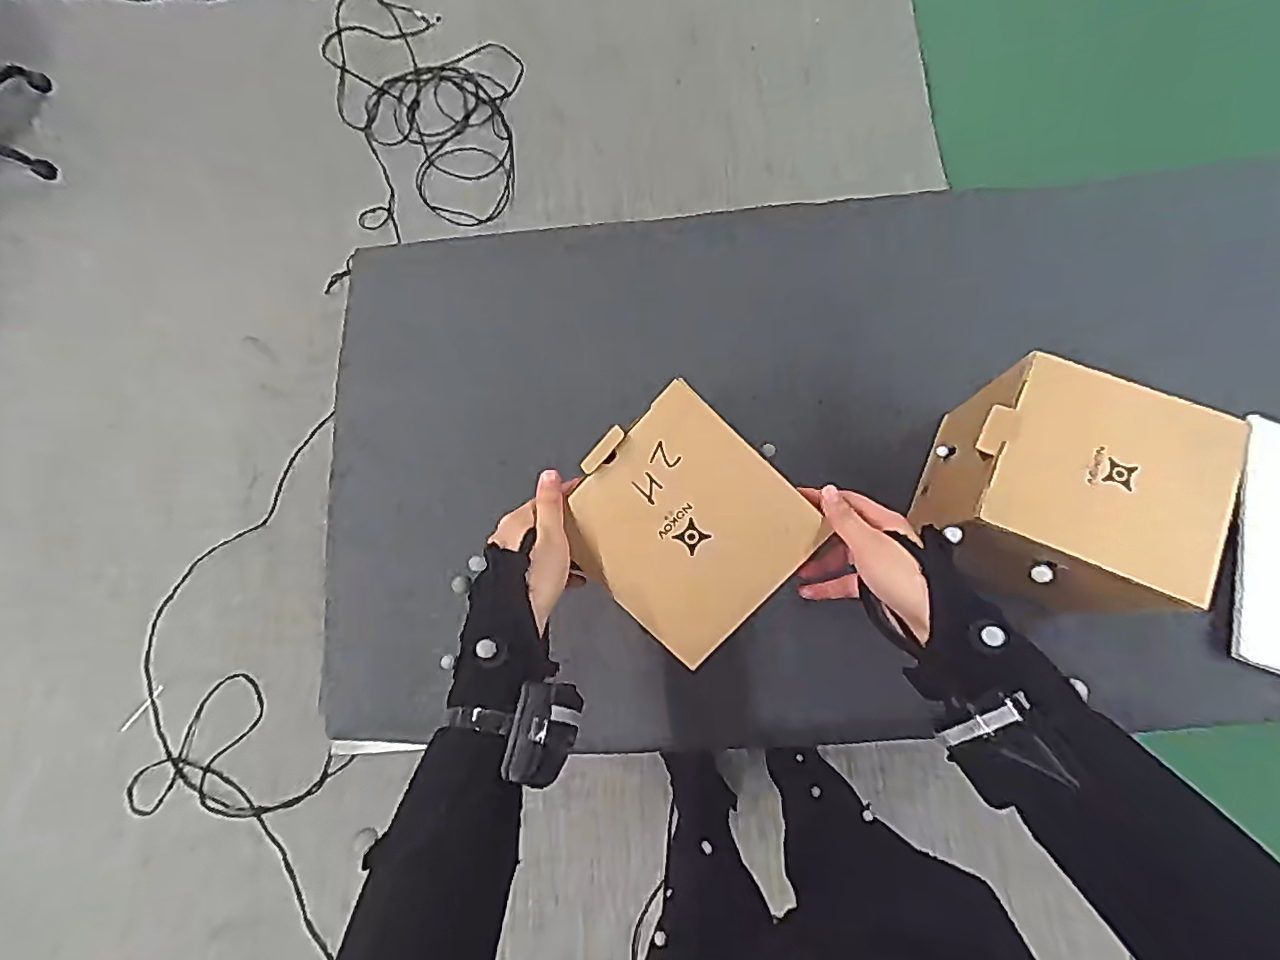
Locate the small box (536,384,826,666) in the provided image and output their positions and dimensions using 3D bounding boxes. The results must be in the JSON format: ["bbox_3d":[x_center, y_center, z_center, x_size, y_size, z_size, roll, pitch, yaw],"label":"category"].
[{"bbox_3d":[0.037,0.030,0.511,0.179,0.176,0.168,44,97,0],"label":"small box"}]

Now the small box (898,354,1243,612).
[{"bbox_3d":[0.385,0.013,0.518,0.179,0.176,0.168,24,80,11],"label":"small box"}]
